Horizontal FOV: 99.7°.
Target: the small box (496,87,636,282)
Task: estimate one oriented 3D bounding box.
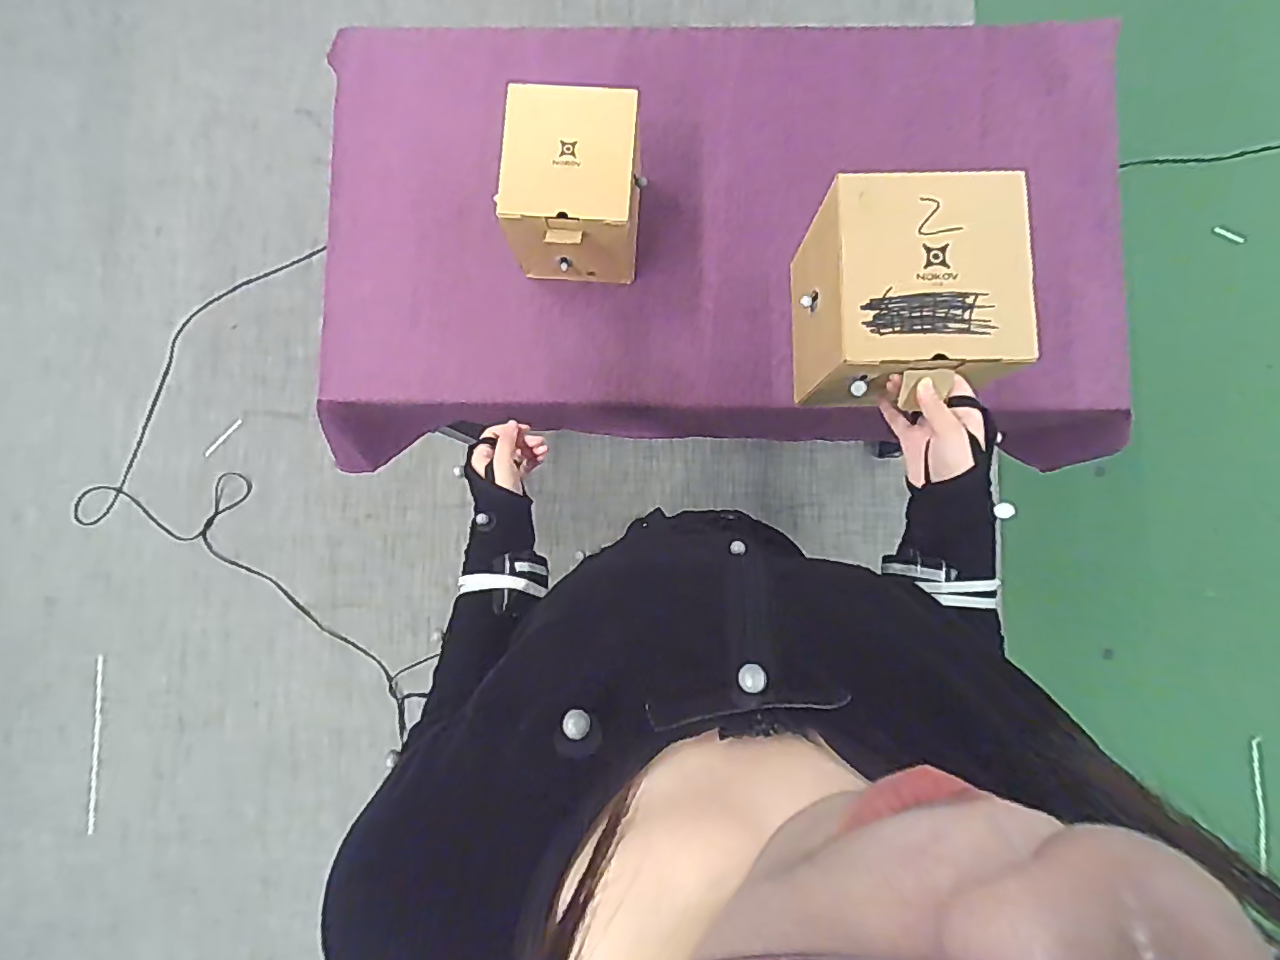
[{"bbox_3d":[-0.093,-0.405,0.764,0.168,0.176,0.179,4,86,1],"label":"small box"}]
